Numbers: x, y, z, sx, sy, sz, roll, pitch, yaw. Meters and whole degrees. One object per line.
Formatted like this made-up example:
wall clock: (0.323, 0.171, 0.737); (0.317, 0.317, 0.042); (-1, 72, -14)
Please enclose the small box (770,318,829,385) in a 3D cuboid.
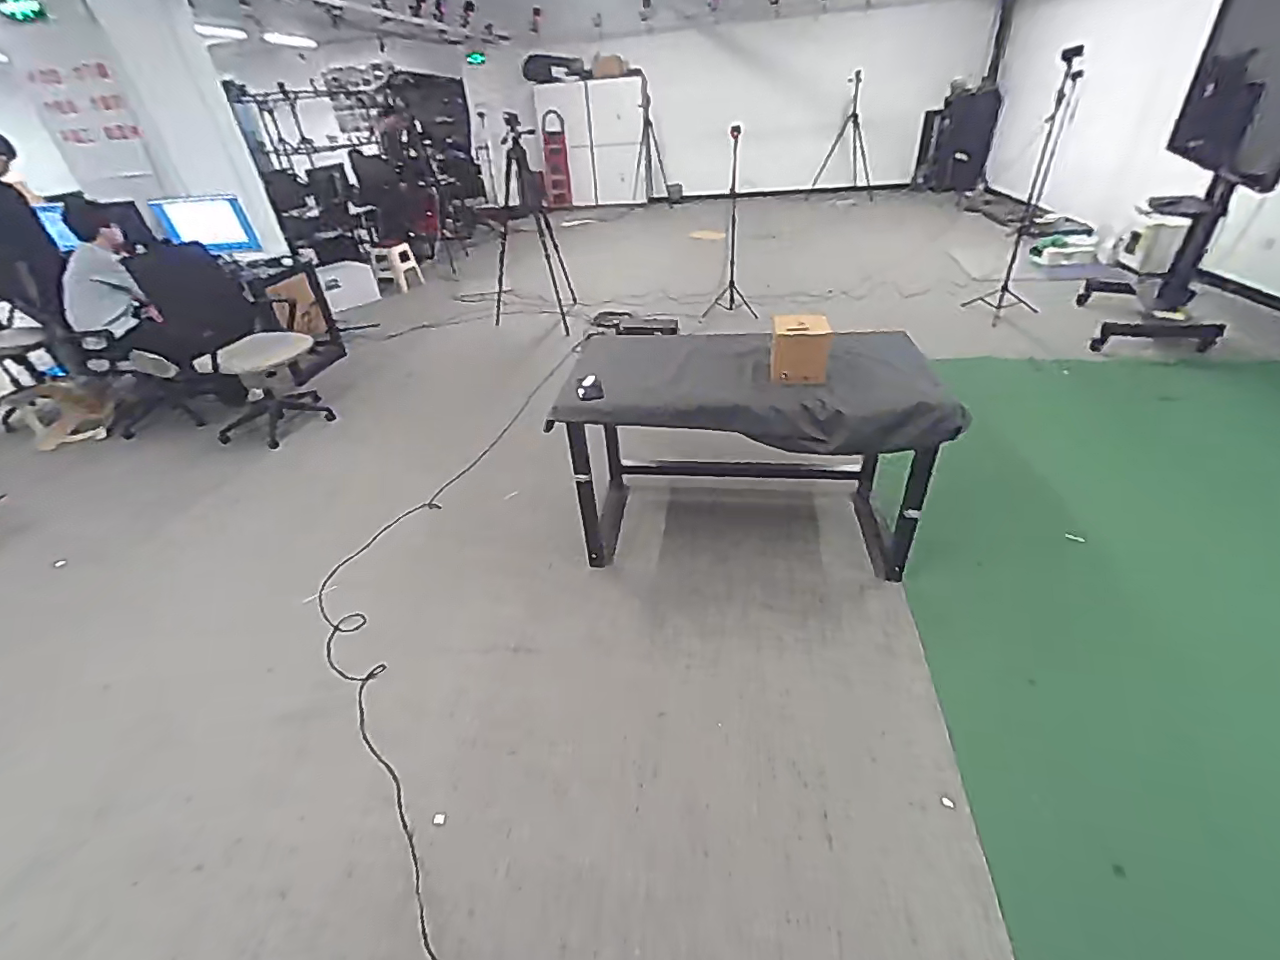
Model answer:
small box: (0.517, -0.420, 1.765); (0.168, 0.176, 0.179); (3, 34, 10)
